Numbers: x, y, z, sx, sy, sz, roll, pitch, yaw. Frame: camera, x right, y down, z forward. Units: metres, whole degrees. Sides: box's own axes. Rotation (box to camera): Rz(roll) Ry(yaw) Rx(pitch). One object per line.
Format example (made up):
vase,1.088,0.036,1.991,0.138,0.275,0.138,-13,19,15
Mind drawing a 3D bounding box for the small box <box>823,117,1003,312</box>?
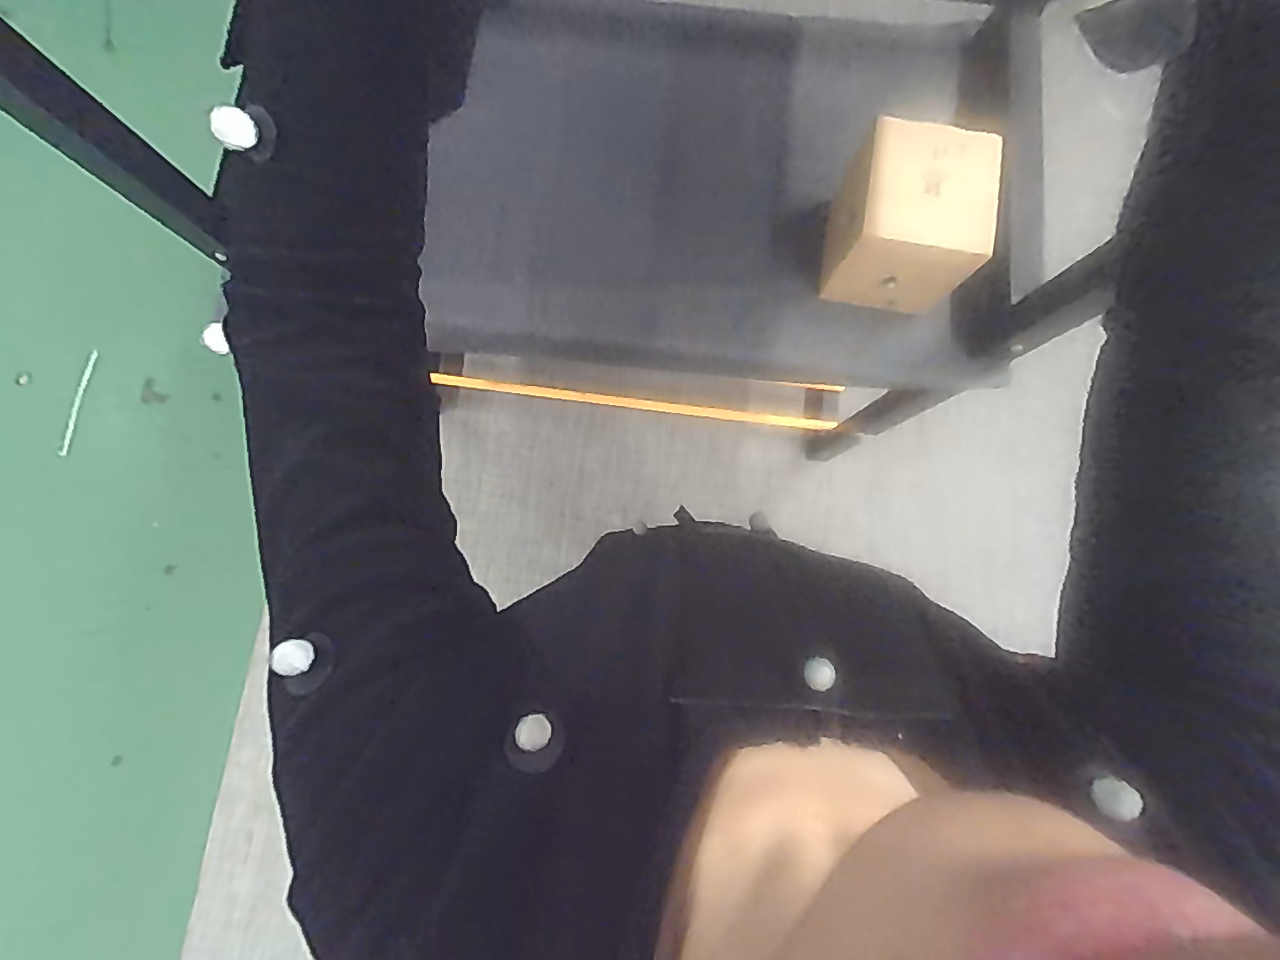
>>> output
small box,0.373,-0.362,0.768,0.168,0.176,0.179,10,81,1
